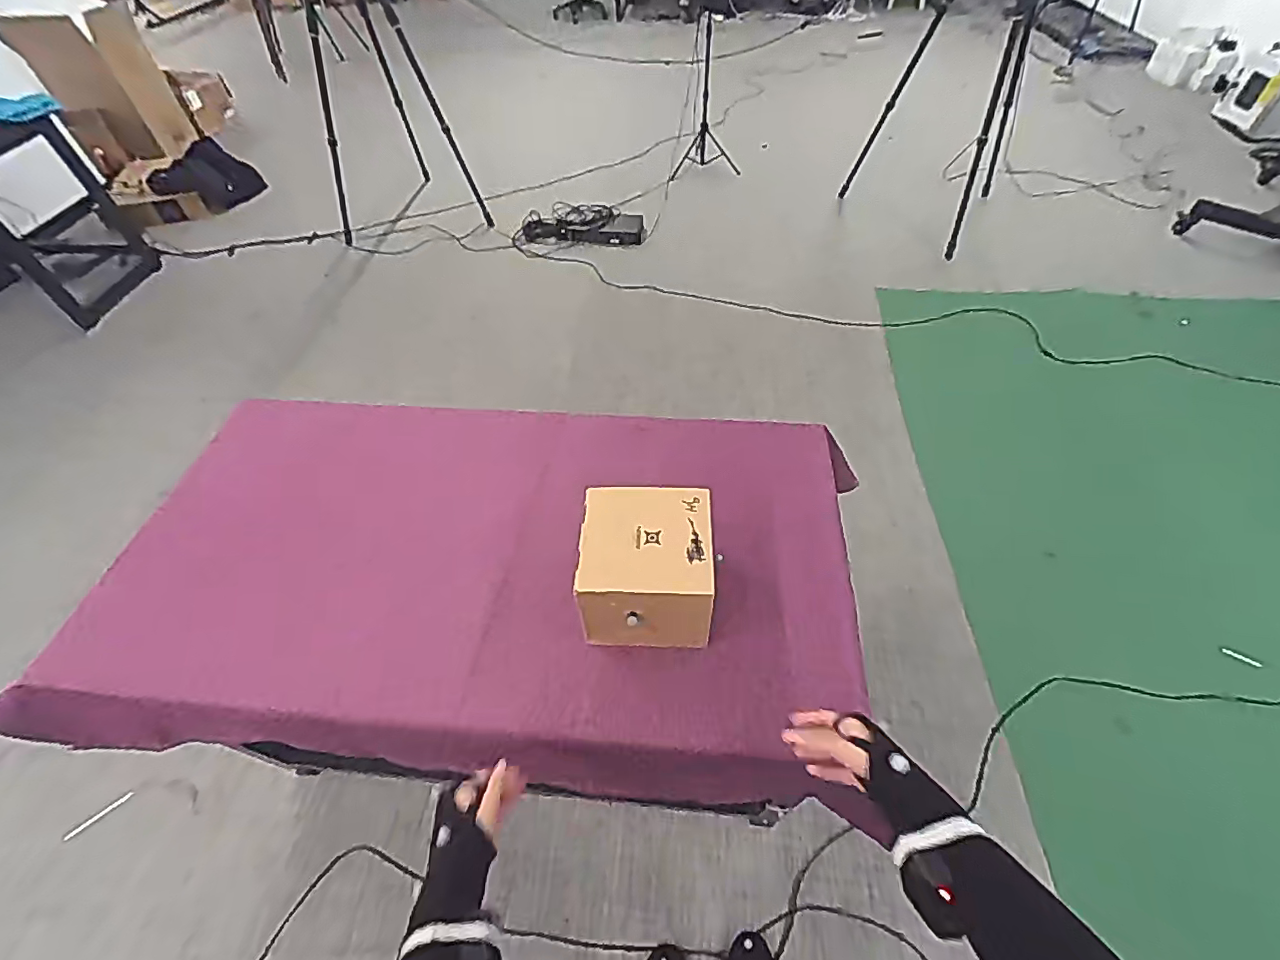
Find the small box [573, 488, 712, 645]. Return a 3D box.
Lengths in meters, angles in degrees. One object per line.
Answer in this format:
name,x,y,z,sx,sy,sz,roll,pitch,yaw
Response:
small box,0.012,0.127,0.776,0.179,0.176,0.168,0,50,4
